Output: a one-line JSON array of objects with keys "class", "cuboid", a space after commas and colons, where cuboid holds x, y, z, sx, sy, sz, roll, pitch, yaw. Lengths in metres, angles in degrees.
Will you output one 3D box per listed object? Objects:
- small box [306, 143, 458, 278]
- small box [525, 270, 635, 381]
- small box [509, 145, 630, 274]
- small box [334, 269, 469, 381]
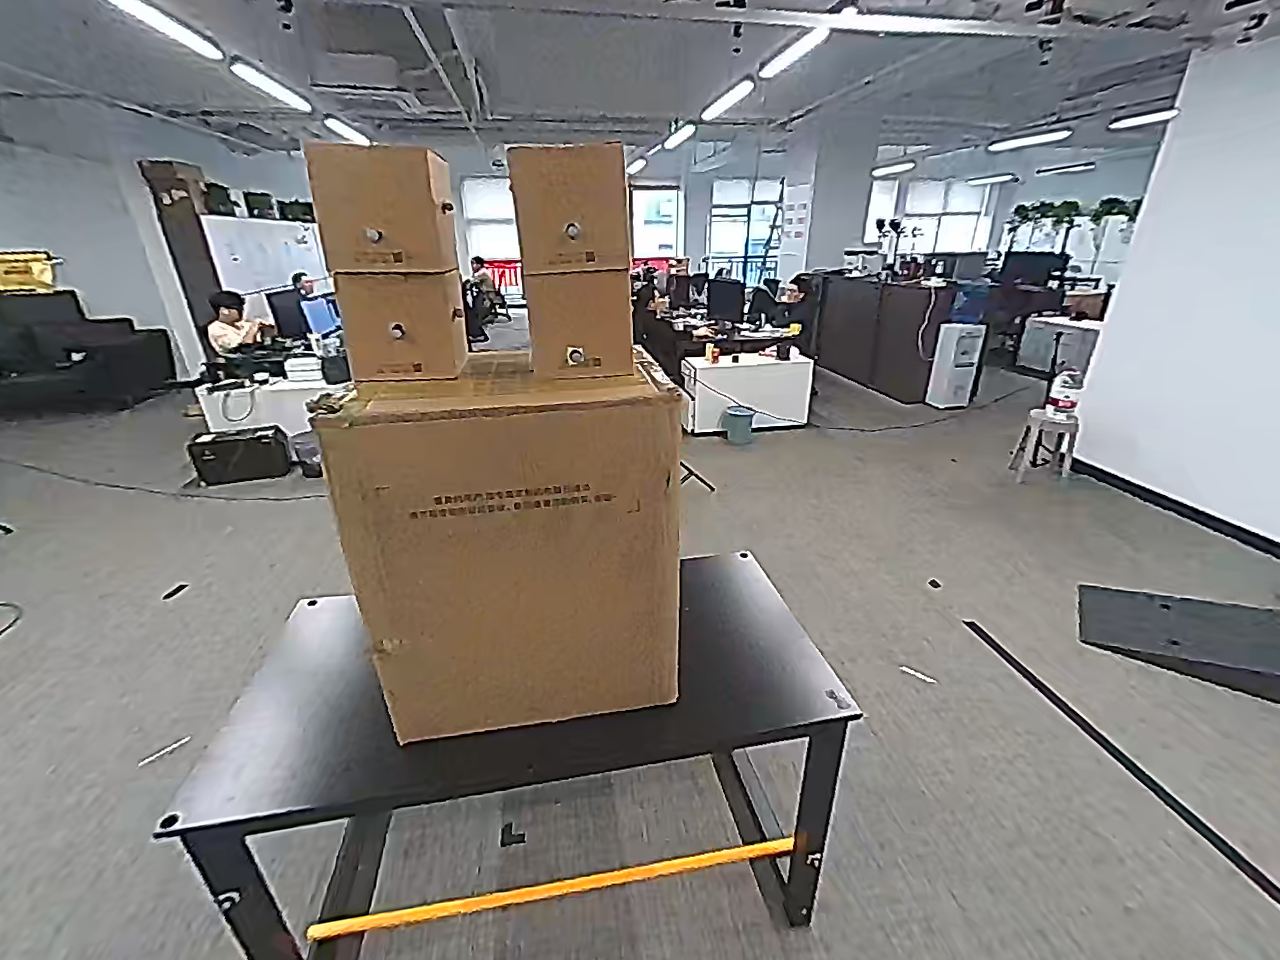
[{"class": "small box", "cuboid": [-0.389, -0.415, 0.850, 0.168, 0.176, 0.179, -3, 24, -8]}, {"class": "small box", "cuboid": [-0.101, -0.274, 0.937, 0.168, 0.176, 0.179, -6, 26, -5]}, {"class": "small box", "cuboid": [-0.105, -0.422, 0.862, 0.168, 0.176, 0.179, -5, 25, -4]}, {"class": "small box", "cuboid": [-0.395, -0.269, 0.931, 0.168, 0.176, 0.179, -3, 24, -10]}]
